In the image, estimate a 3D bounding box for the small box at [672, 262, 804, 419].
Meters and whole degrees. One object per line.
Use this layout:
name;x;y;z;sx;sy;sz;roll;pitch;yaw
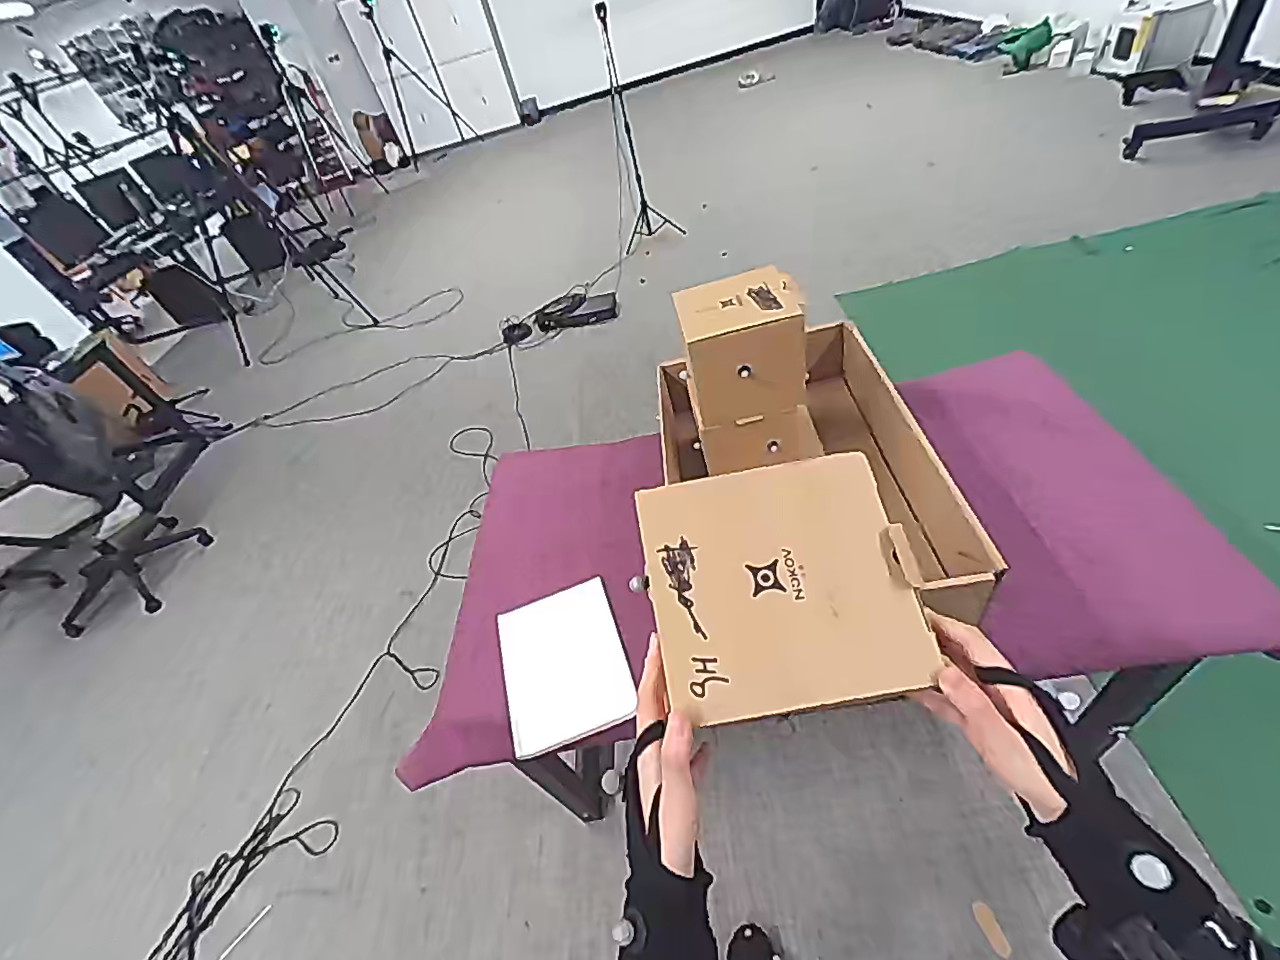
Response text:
small box;0.161;-0.226;0.890;0.179;0.176;0.168;-13;45;6

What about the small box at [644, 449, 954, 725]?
small box;0.101;0.095;0.434;0.179;0.176;0.168;-9;64;-1
